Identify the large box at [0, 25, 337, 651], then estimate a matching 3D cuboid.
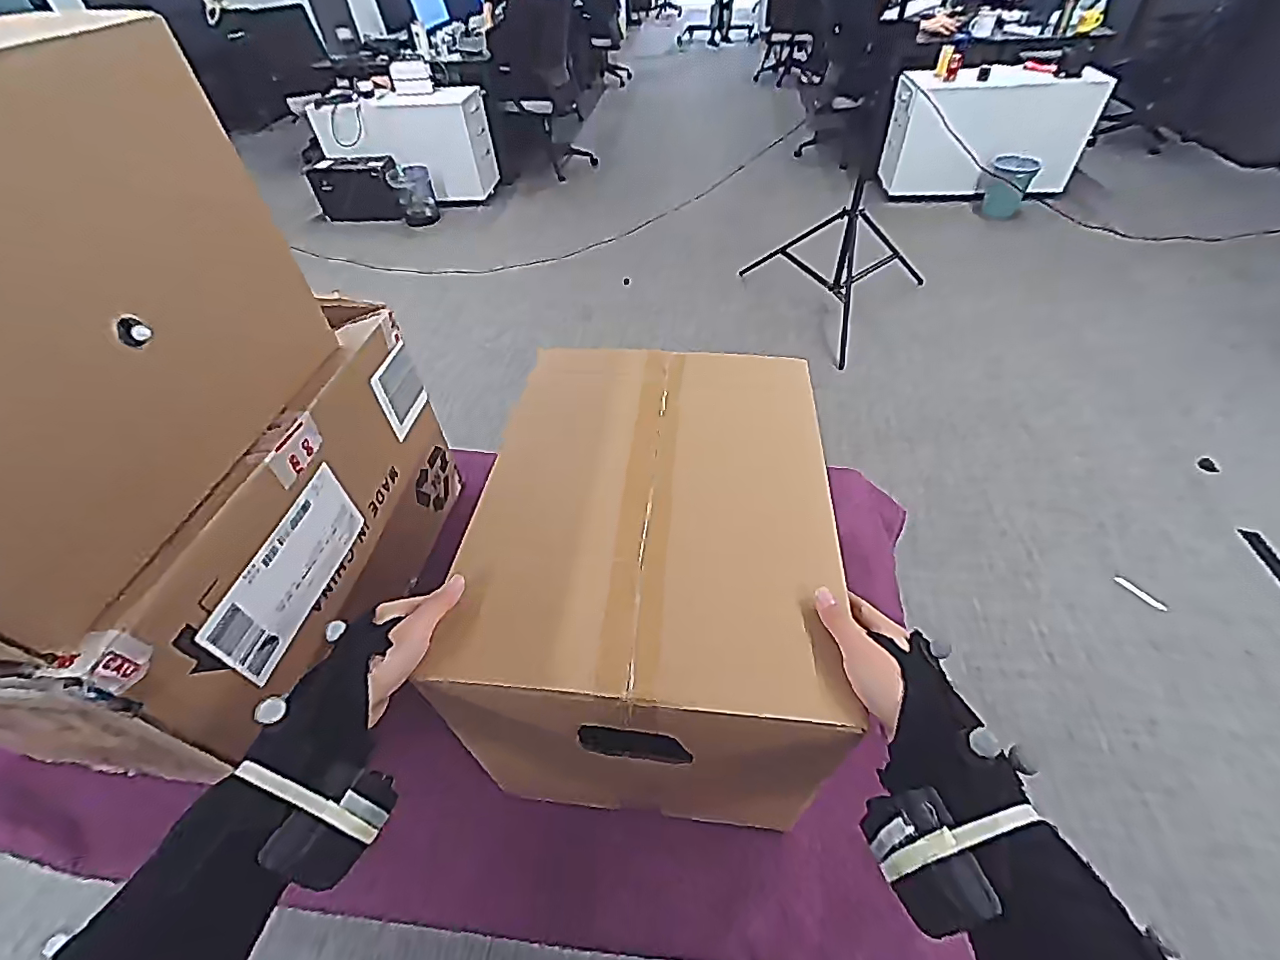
[{"bbox_3d":[-0.536,-0.126,0.432,0.320,0.320,0.408,1,47,7],"label":"large box"}]
